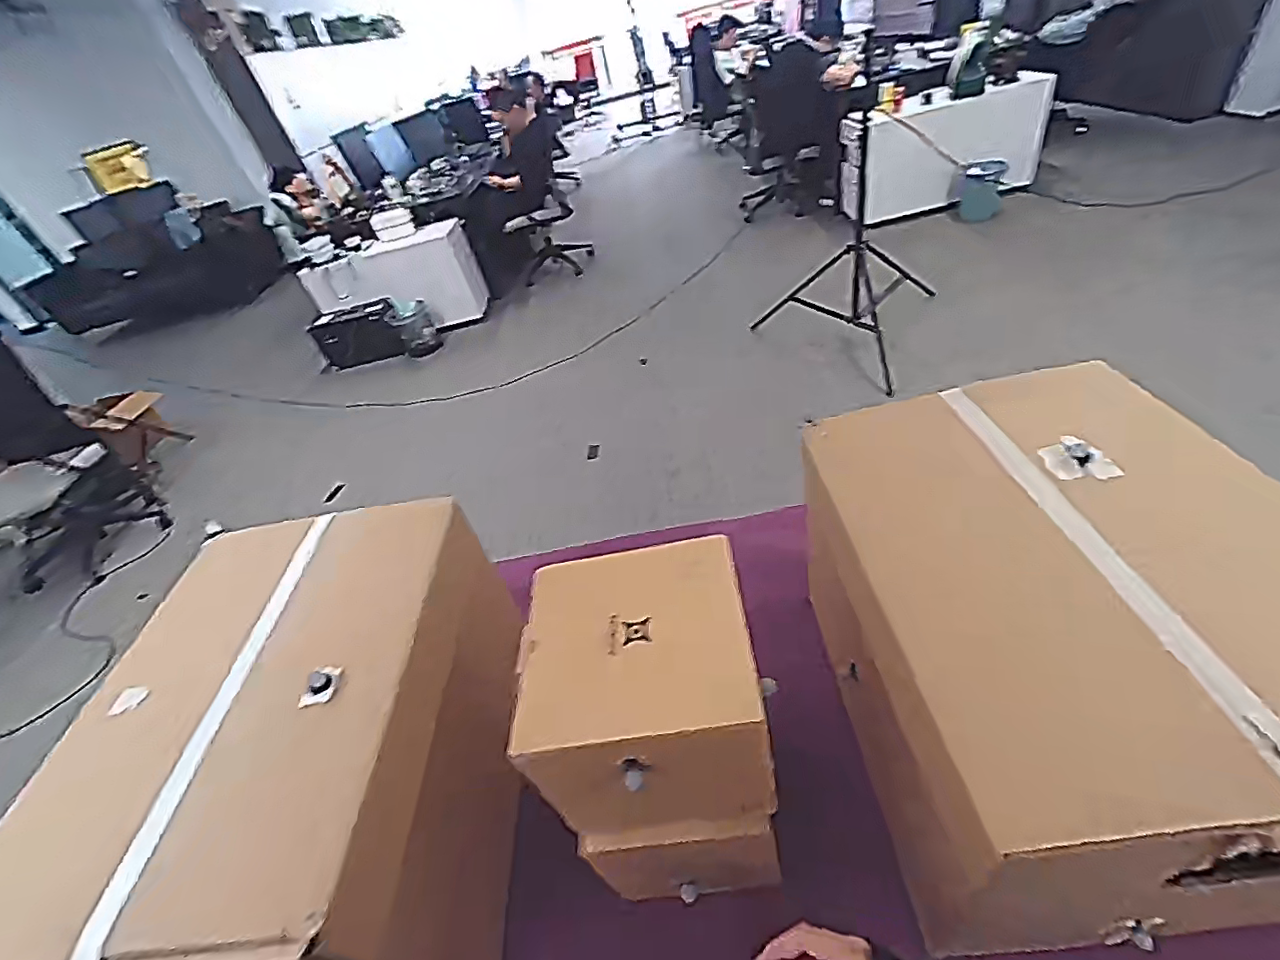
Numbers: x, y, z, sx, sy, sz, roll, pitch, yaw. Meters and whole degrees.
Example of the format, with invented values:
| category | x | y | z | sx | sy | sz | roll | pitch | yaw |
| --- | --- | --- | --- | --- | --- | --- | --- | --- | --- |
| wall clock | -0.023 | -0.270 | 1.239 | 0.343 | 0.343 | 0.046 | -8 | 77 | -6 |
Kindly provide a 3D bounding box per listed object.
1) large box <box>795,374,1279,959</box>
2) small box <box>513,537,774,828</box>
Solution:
| category | x | y | z | sx | sy | sz | roll | pitch | yaw |
| --- | --- | --- | --- | --- | --- | --- | --- | --- | --- |
| large box | 0.363 | 0.158 | 0.516 | 0.320 | 0.320 | 0.408 | -11 | 39 | 6 |
| small box | 0.014 | 0.177 | 0.467 | 0.179 | 0.176 | 0.168 | -12 | 40 | 8 |
